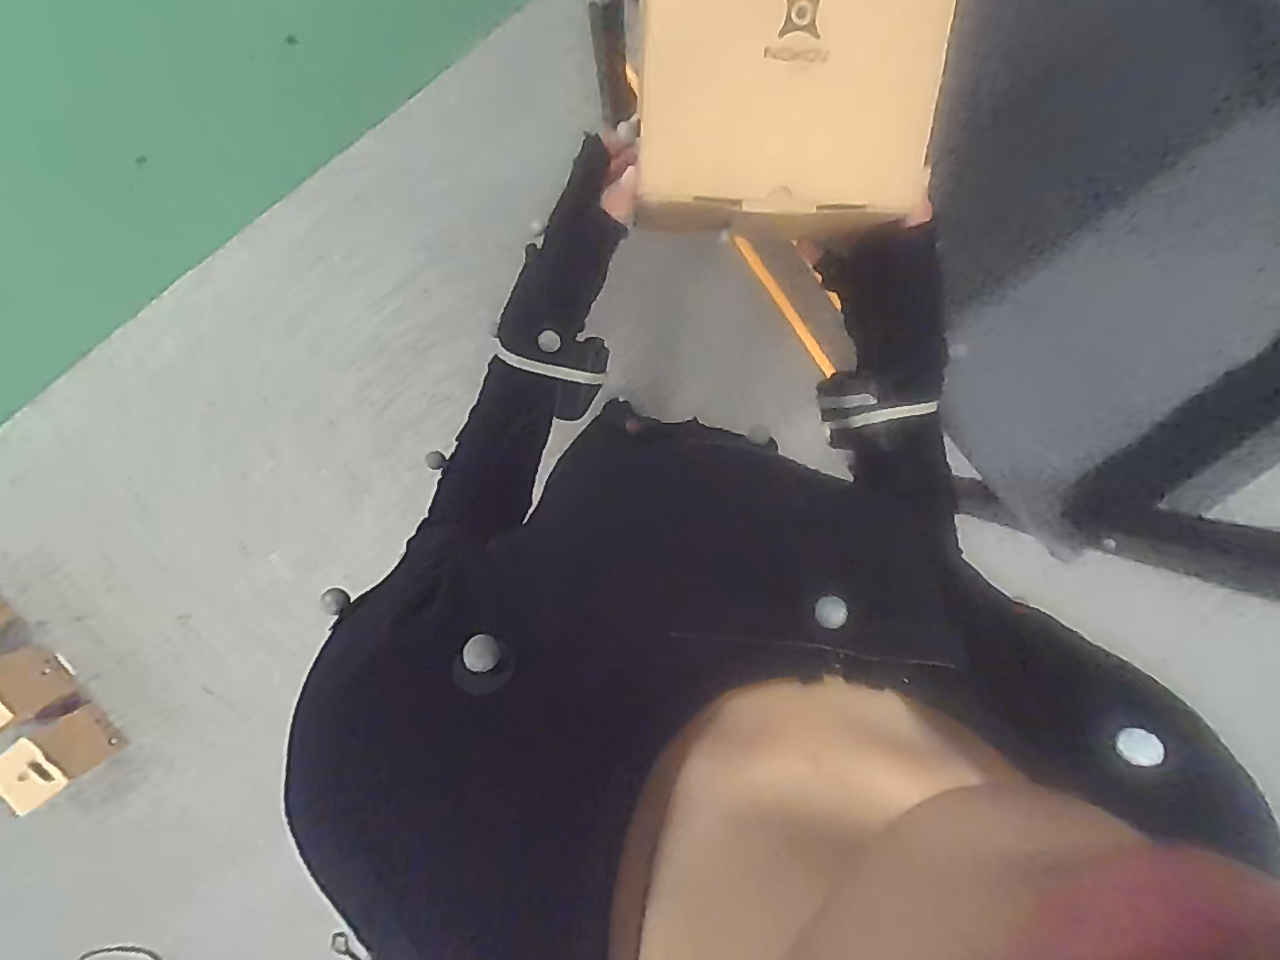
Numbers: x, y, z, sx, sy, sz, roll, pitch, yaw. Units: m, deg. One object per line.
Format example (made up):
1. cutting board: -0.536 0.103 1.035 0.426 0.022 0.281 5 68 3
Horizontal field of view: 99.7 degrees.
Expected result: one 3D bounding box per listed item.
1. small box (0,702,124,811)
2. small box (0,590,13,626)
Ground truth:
1. small box: -1.593 0.751 1.489 0.179 0.176 0.168 -36 96 5
2. small box: -1.870 0.359 1.450 0.179 0.176 0.168 -35 94 4
